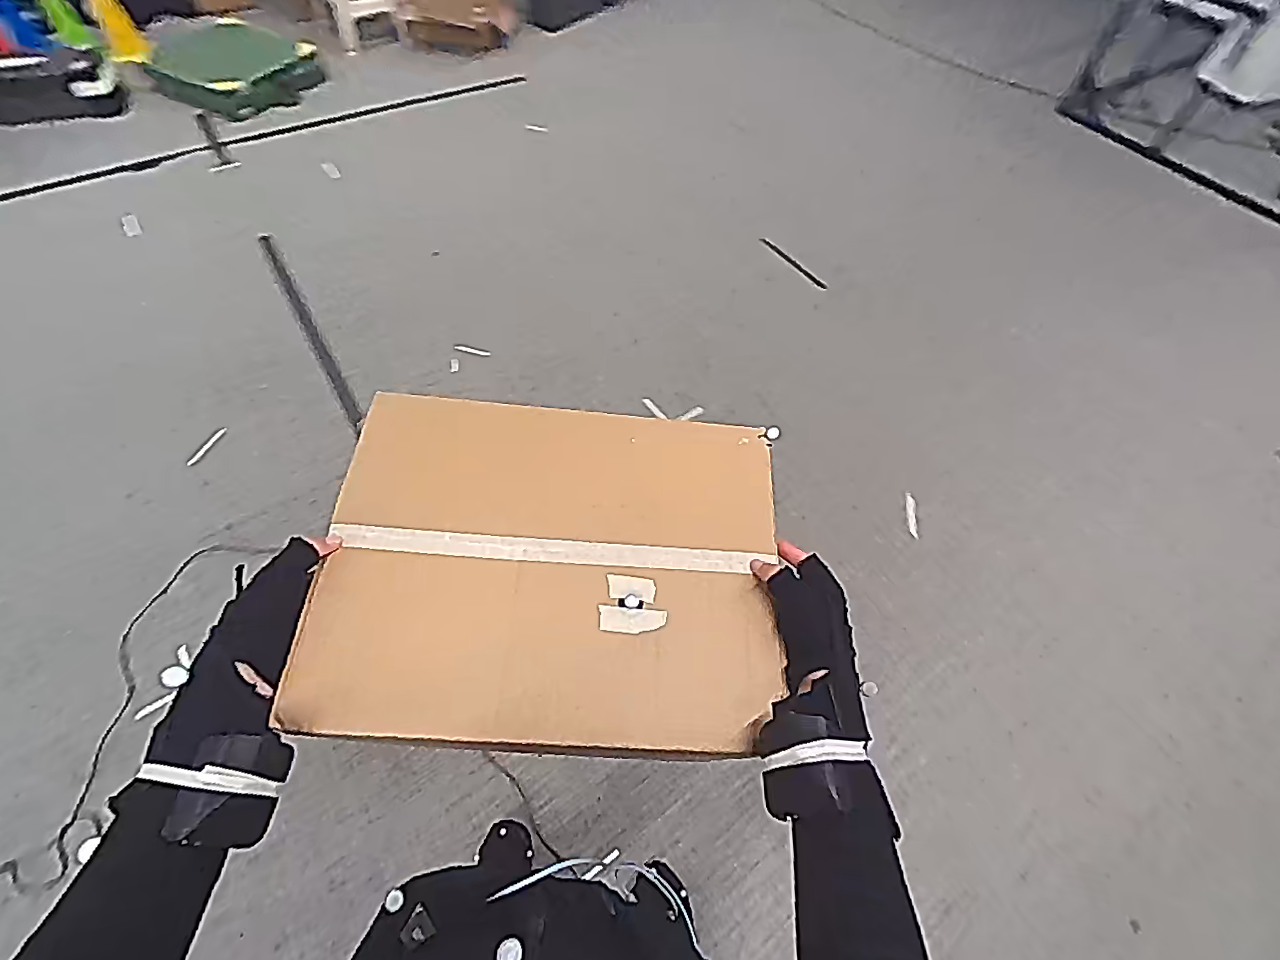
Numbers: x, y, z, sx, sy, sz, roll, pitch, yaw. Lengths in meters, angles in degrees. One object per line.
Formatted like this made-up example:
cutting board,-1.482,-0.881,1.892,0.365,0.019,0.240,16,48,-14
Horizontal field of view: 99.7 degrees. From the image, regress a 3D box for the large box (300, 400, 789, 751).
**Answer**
large box,-0.084,0.136,0.635,0.408,0.320,0.320,6,63,-5
